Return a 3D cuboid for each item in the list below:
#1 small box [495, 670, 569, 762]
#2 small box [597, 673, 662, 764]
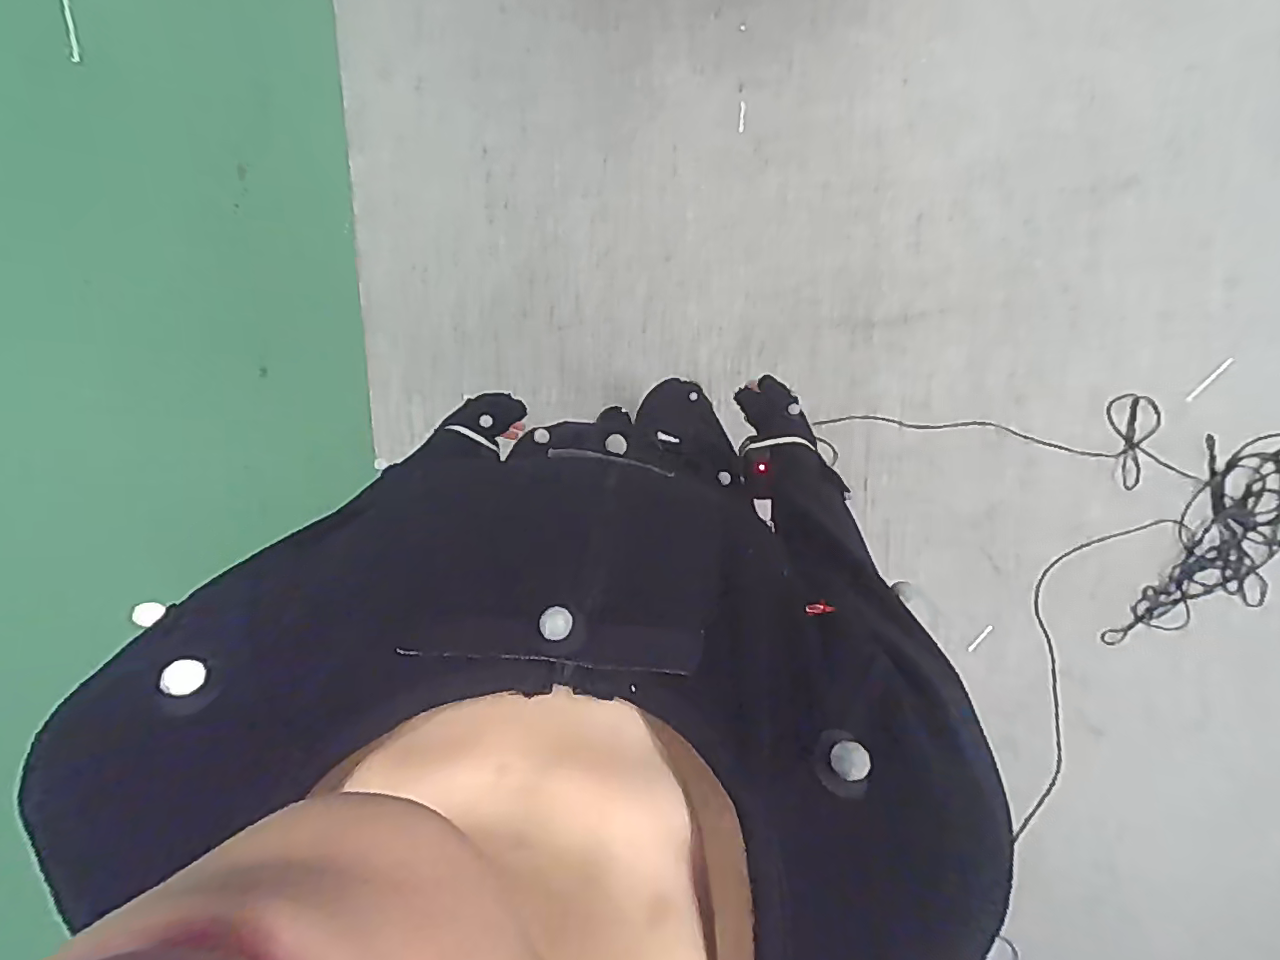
[{"bbox_3d":[-0.290,0.643,1.485,0.168,0.176,0.179,-2,97,2],"label":"small box"},{"bbox_3d":[-0.026,0.644,1.480,0.168,0.176,0.179,-2,98,2],"label":"small box"}]
